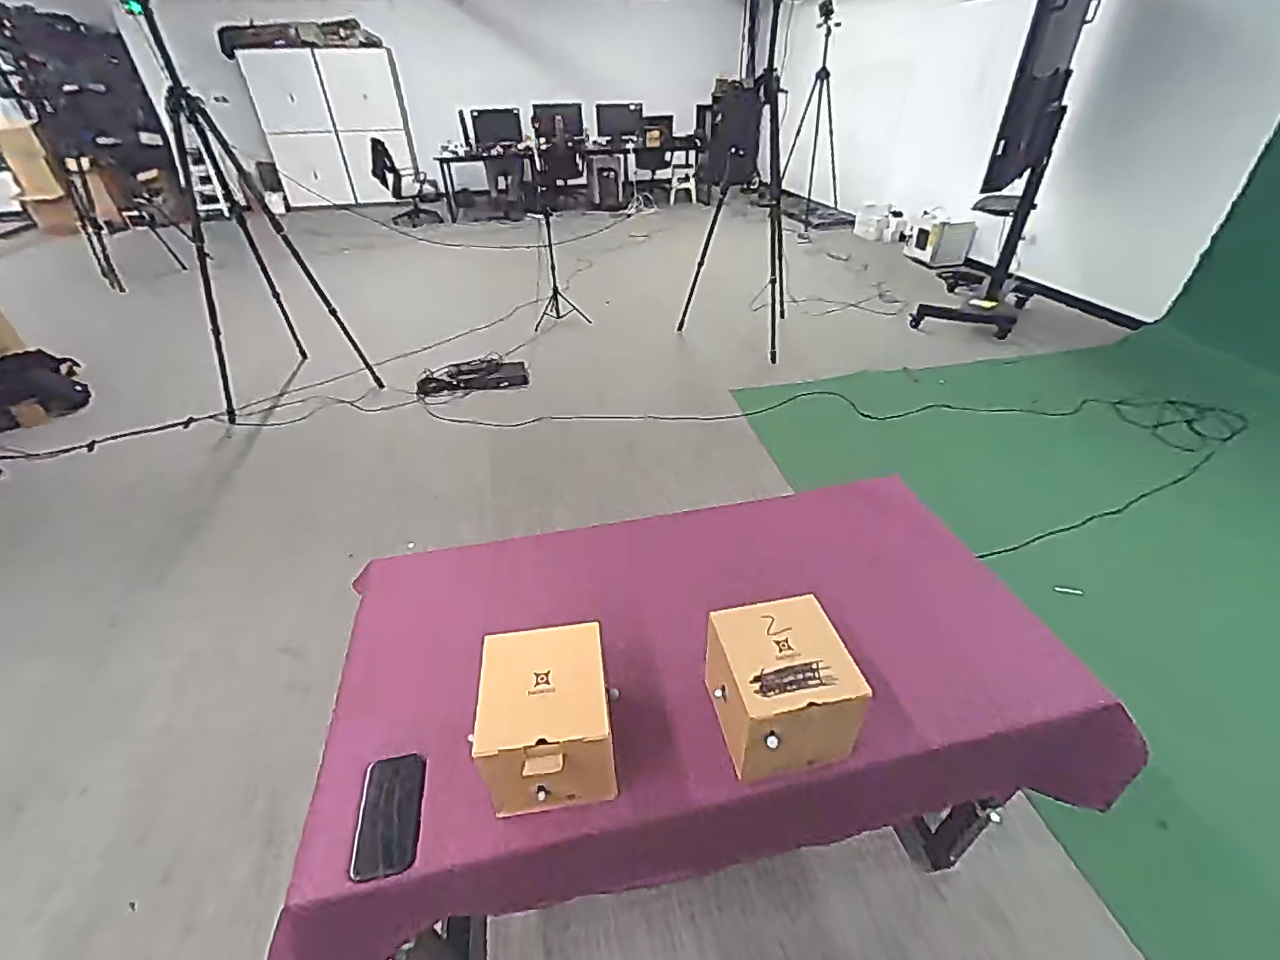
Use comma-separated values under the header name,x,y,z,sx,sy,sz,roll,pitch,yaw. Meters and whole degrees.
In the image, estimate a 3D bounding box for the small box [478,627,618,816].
name,x,y,z,sx,sy,sz,roll,pitch,yaw
small box,-0.122,0.335,0.759,0.168,0.176,0.179,-5,37,-6
